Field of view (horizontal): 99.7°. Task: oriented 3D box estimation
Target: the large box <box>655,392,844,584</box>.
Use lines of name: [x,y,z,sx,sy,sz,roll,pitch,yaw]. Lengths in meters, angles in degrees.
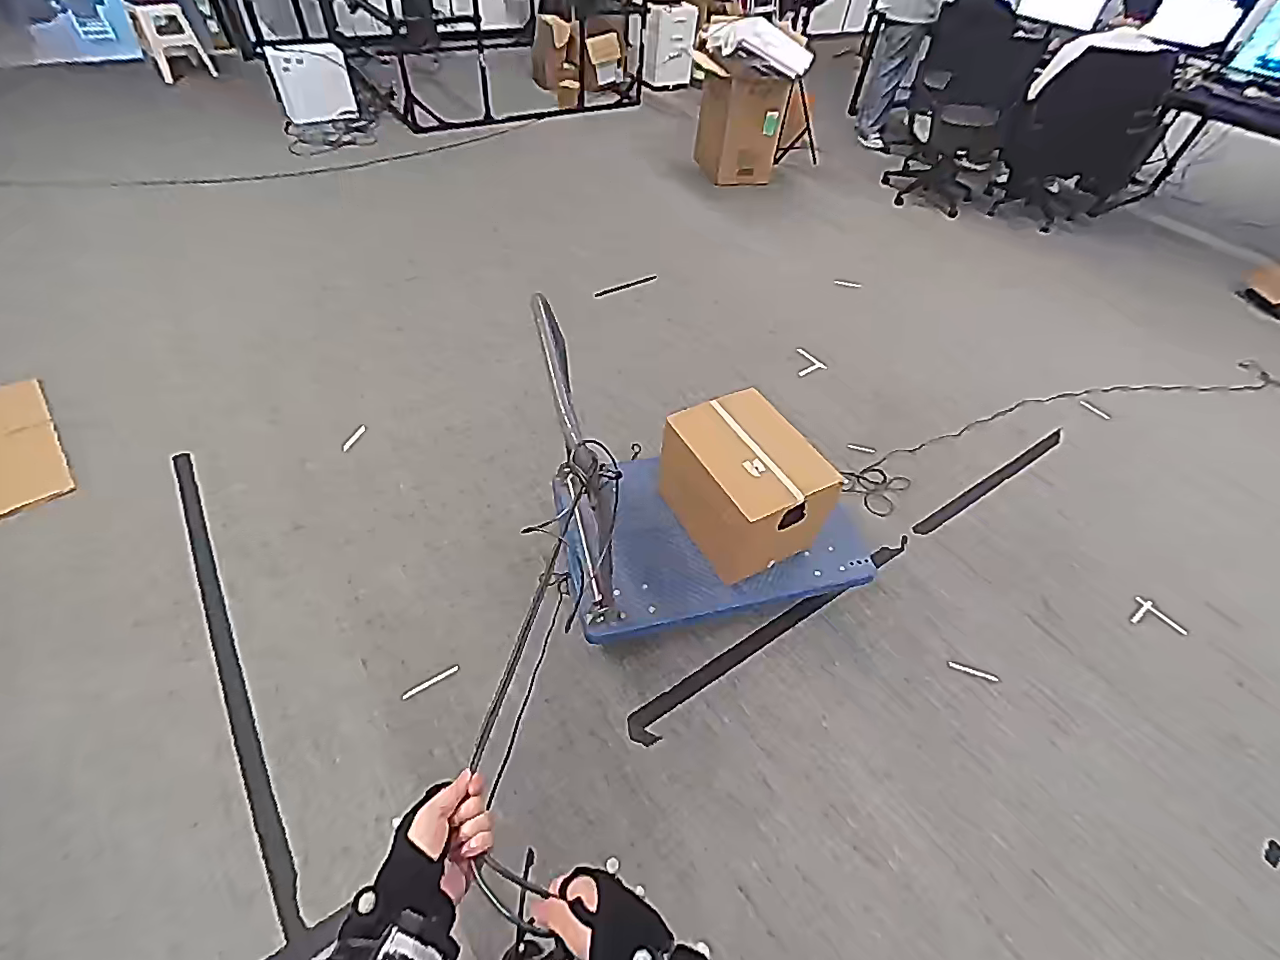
large box: [0.286,0.016,1.552,0.320,0.320,0.408,-21,55,-21]
